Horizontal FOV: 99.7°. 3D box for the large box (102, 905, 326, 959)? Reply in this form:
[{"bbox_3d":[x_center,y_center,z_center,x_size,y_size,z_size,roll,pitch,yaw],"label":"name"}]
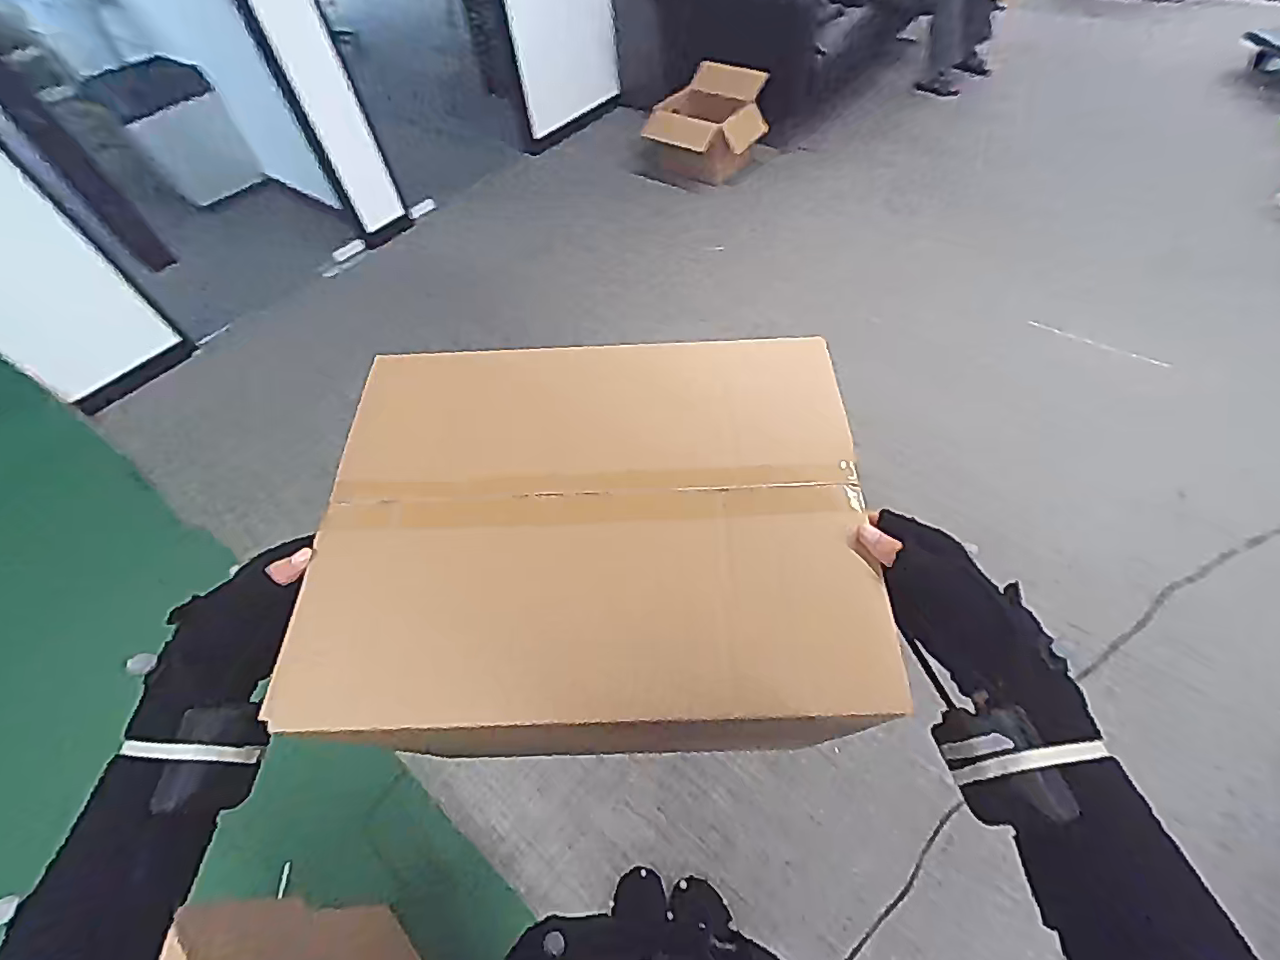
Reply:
[{"bbox_3d":[-0.568,0.842,0.680,0.408,0.320,0.320,33,62,27],"label":"large box"}]
